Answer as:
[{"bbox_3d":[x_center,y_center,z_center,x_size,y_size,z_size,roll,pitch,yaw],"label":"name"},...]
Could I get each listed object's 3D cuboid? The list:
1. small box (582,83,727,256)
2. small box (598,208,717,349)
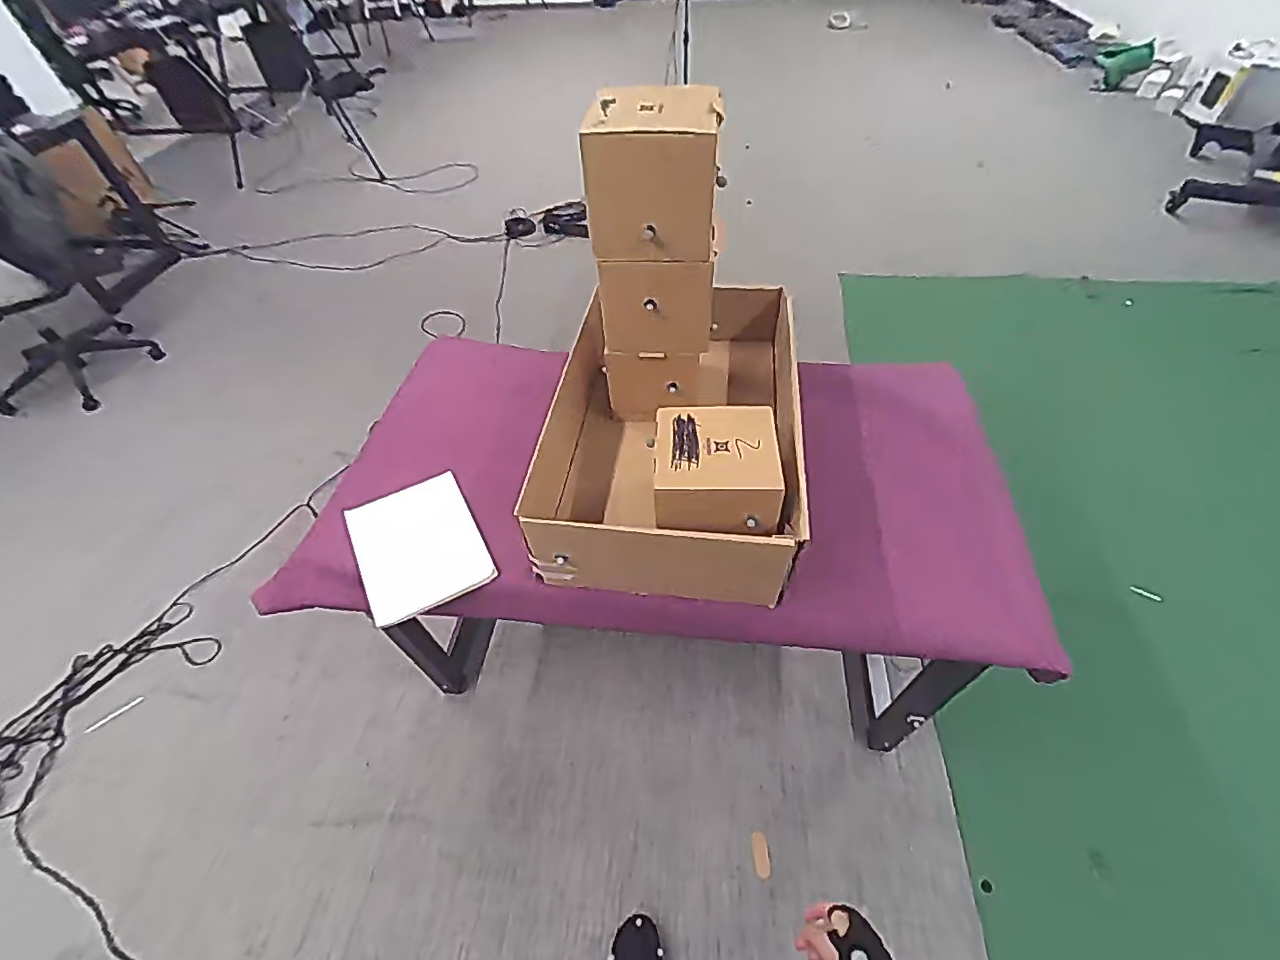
[{"bbox_3d":[0.026,-0.439,0.773,0.179,0.176,0.168,5,51,6],"label":"small box"},{"bbox_3d":[0.034,-0.333,0.898,0.179,0.176,0.168,2,51,5],"label":"small box"}]
